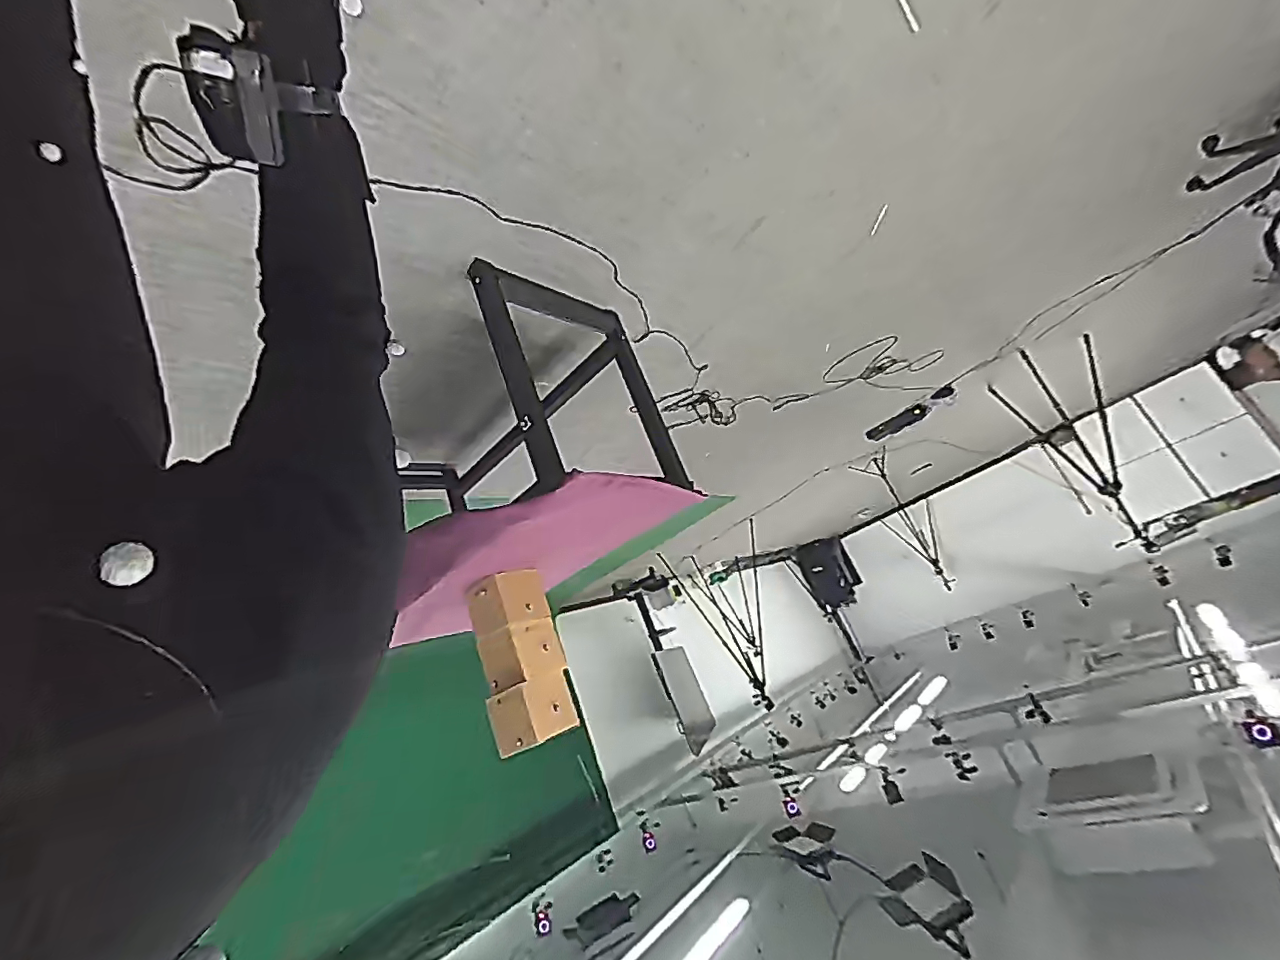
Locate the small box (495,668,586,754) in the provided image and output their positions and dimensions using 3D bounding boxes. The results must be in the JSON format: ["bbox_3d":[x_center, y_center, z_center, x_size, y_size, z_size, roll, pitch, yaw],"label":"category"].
[{"bbox_3d":[-0.295,0.672,1.592,0.168,0.176,0.179,-33,160,28],"label":"small box"}]

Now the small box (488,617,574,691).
[{"bbox_3d":[-0.340,0.529,1.662,0.179,0.176,0.168,-34,158,31],"label":"small box"}]

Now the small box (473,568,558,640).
[{"bbox_3d":[-0.395,0.384,1.708,0.168,0.176,0.179,-34,158,29],"label":"small box"}]
